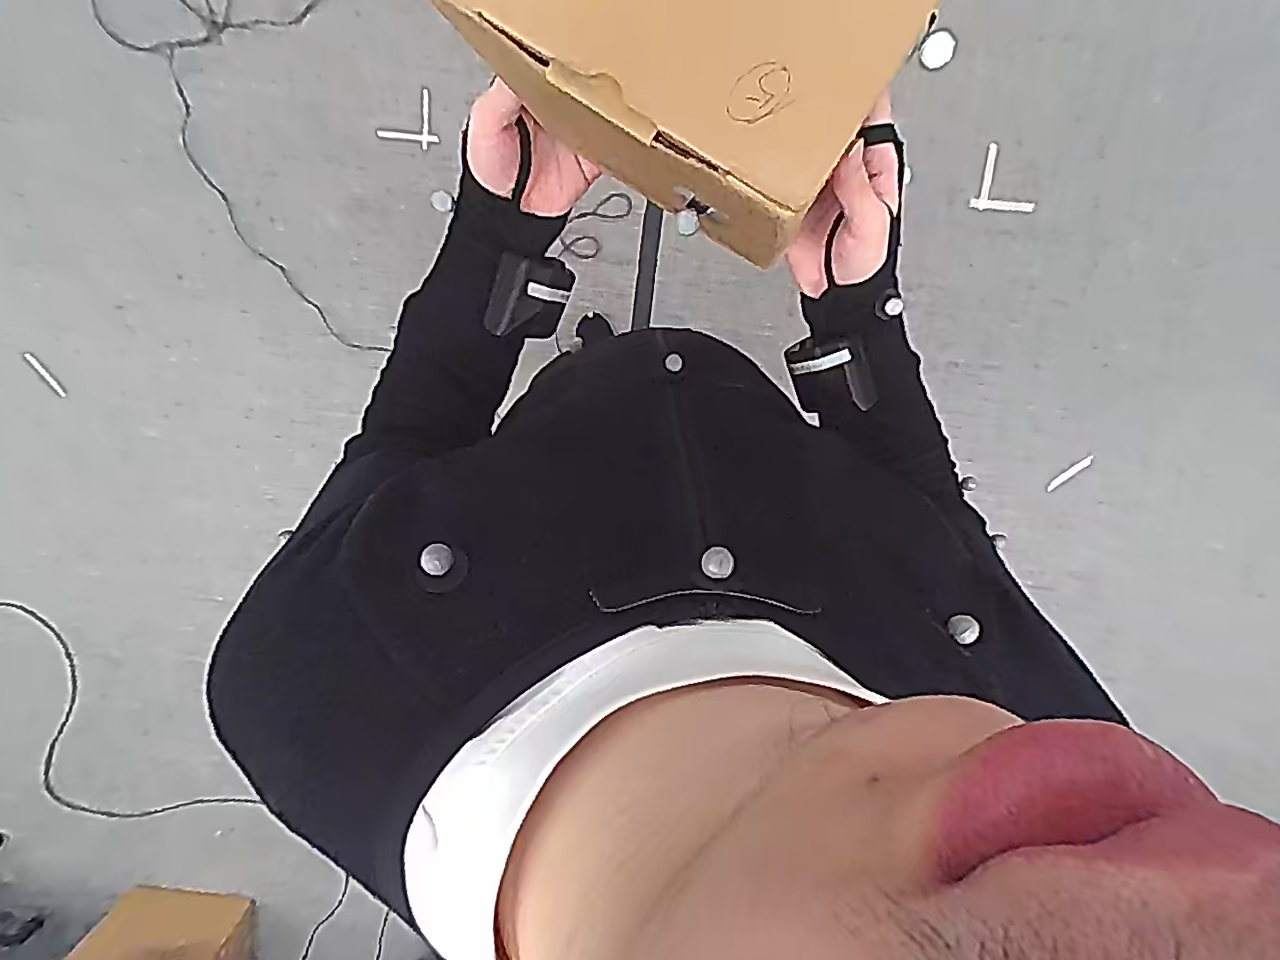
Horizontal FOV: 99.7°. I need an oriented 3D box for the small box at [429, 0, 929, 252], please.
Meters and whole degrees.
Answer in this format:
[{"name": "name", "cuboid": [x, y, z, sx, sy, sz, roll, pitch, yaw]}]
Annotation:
[{"name": "small box", "cuboid": [0.040, -0.231, 0.249, 0.168, 0.176, 0.179, 32, 108, -1]}]
